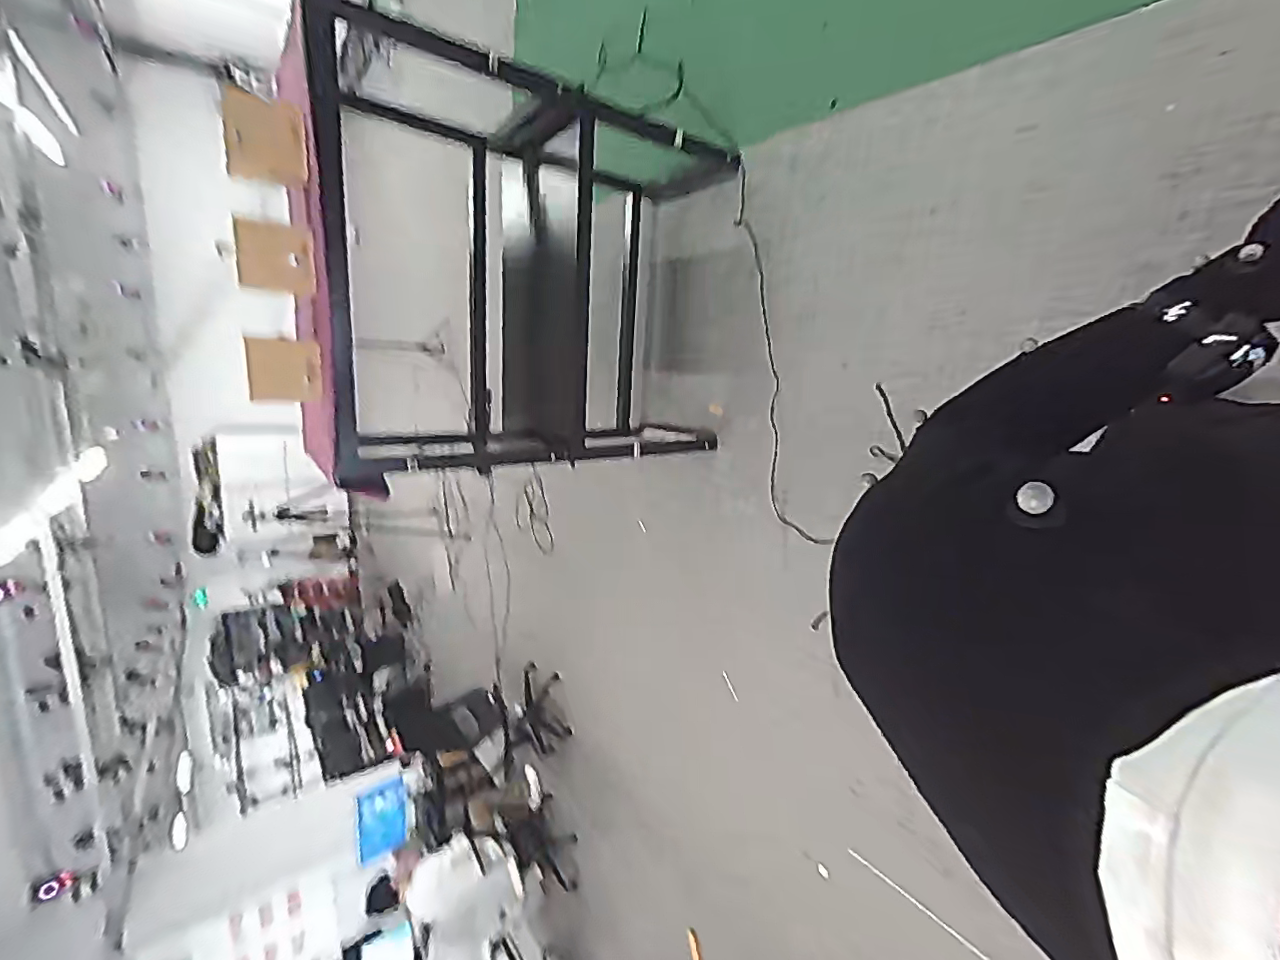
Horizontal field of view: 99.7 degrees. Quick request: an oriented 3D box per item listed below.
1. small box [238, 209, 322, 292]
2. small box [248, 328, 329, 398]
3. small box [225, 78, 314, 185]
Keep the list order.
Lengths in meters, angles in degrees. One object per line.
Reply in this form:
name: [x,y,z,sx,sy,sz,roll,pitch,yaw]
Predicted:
small box: [-0.929,-0.585,1.398,0.179,0.176,0.168,22,112,50]
small box: [-0.947,-0.315,1.460,0.179,0.176,0.168,24,114,50]
small box: [-0.917,-0.853,1.345,0.179,0.176,0.168,23,114,52]
